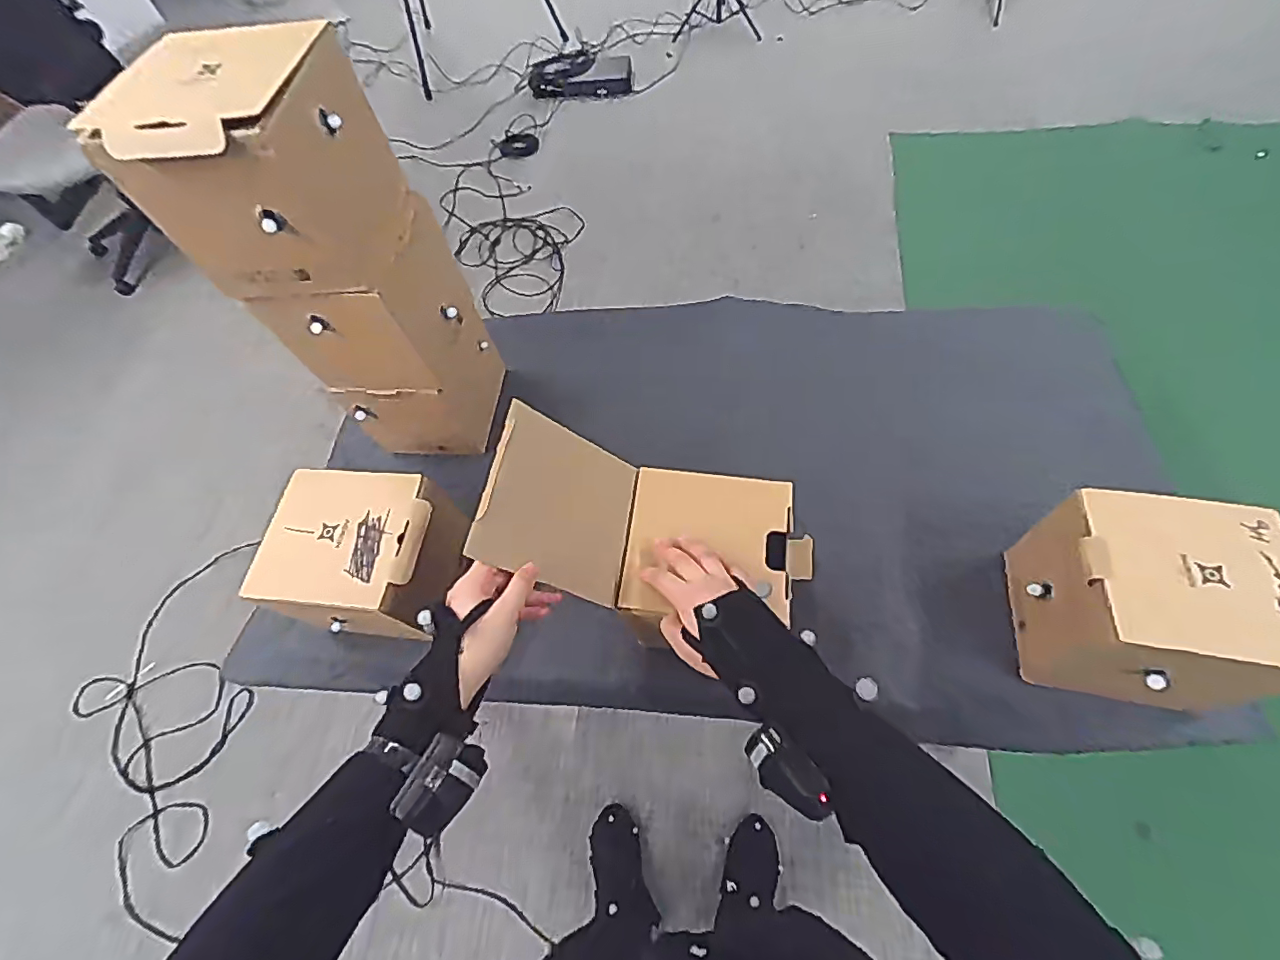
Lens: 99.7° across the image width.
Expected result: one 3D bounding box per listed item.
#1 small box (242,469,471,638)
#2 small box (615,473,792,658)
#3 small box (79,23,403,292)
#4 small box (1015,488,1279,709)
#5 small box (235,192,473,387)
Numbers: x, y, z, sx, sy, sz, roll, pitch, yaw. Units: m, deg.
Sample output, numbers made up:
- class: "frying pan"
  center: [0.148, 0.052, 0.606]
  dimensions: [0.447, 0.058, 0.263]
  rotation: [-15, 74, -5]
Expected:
- class: "small box"
  center: [-0.341, 0.100, 0.694]
  dimensions: [0.179, 0.176, 0.168]
  rotation: [3, 63, 9]
- class: "small box"
  center: [0.081, 0.106, 0.640]
  dimensions: [0.179, 0.176, 0.168]
  rotation: [4, 63, 10]
- class: "small box"
  center: [-0.362, -0.305, 0.537]
  dimensions: [0.168, 0.176, 0.179]
  rotation: [-1, 62, 5]
- class: "small box"
  center: [0.526, 0.129, 0.568]
  dimensions: [0.179, 0.176, 0.168]
  rotation: [7, 59, 12]
- class: "small box"
  center: [-0.339, -0.231, 0.679]
  dimensions: [0.179, 0.176, 0.168]
  rotation: [3, 64, 8]
